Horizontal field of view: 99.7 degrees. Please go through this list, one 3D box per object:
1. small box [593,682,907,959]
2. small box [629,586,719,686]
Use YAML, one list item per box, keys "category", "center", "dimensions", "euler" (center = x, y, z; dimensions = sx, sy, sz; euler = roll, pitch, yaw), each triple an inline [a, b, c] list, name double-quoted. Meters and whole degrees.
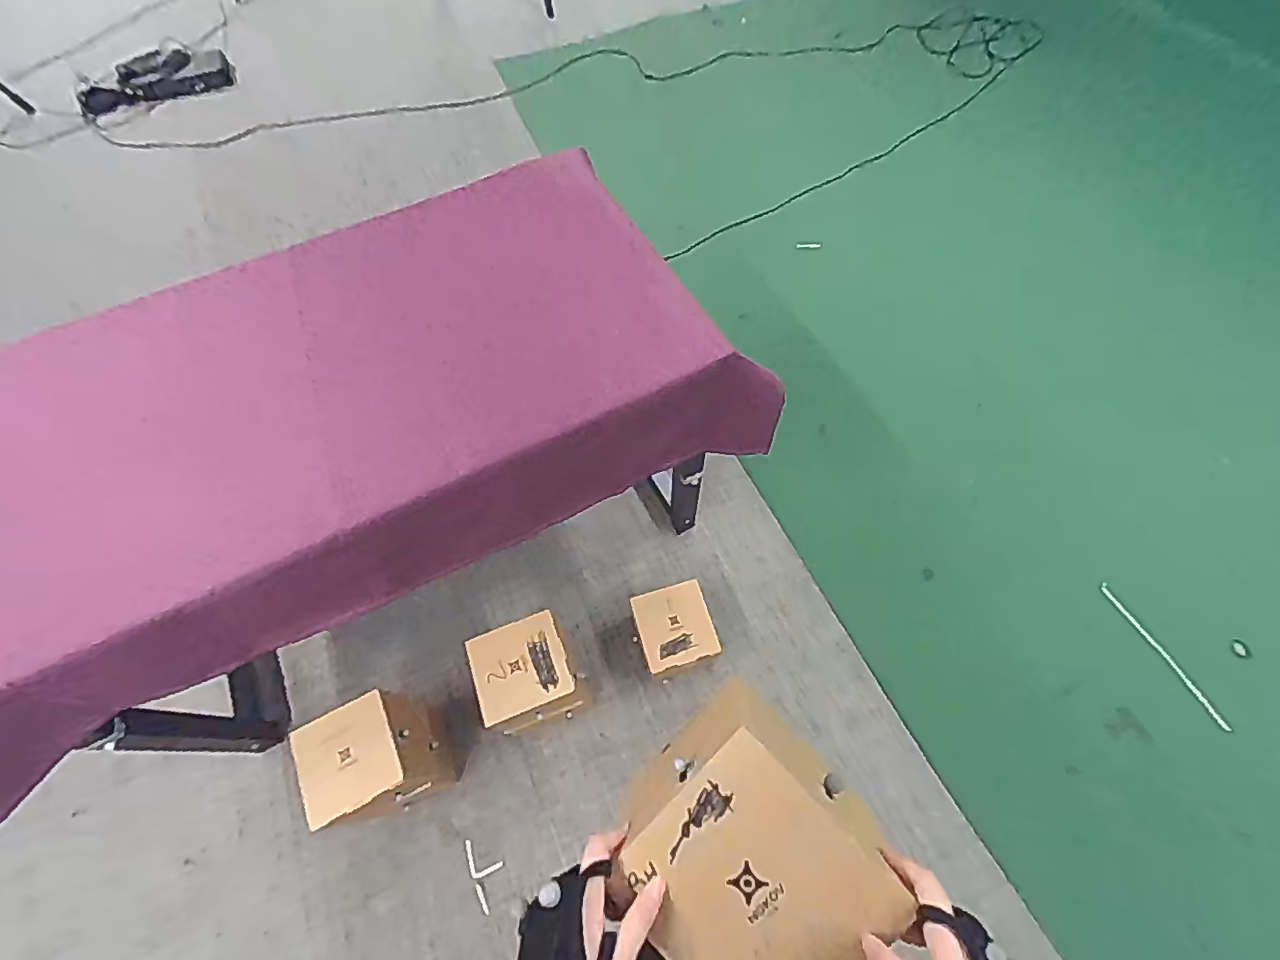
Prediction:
- category: "small box"
  center: [0.089, 0.314, 0.484]
  dimensions: [0.179, 0.176, 0.168]
  euler: [44, 90, 10]
- category: "small box"
  center: [0.078, 0.377, 1.282]
  dimensions: [0.168, 0.176, 0.179]
  euler: [-15, 62, -7]
